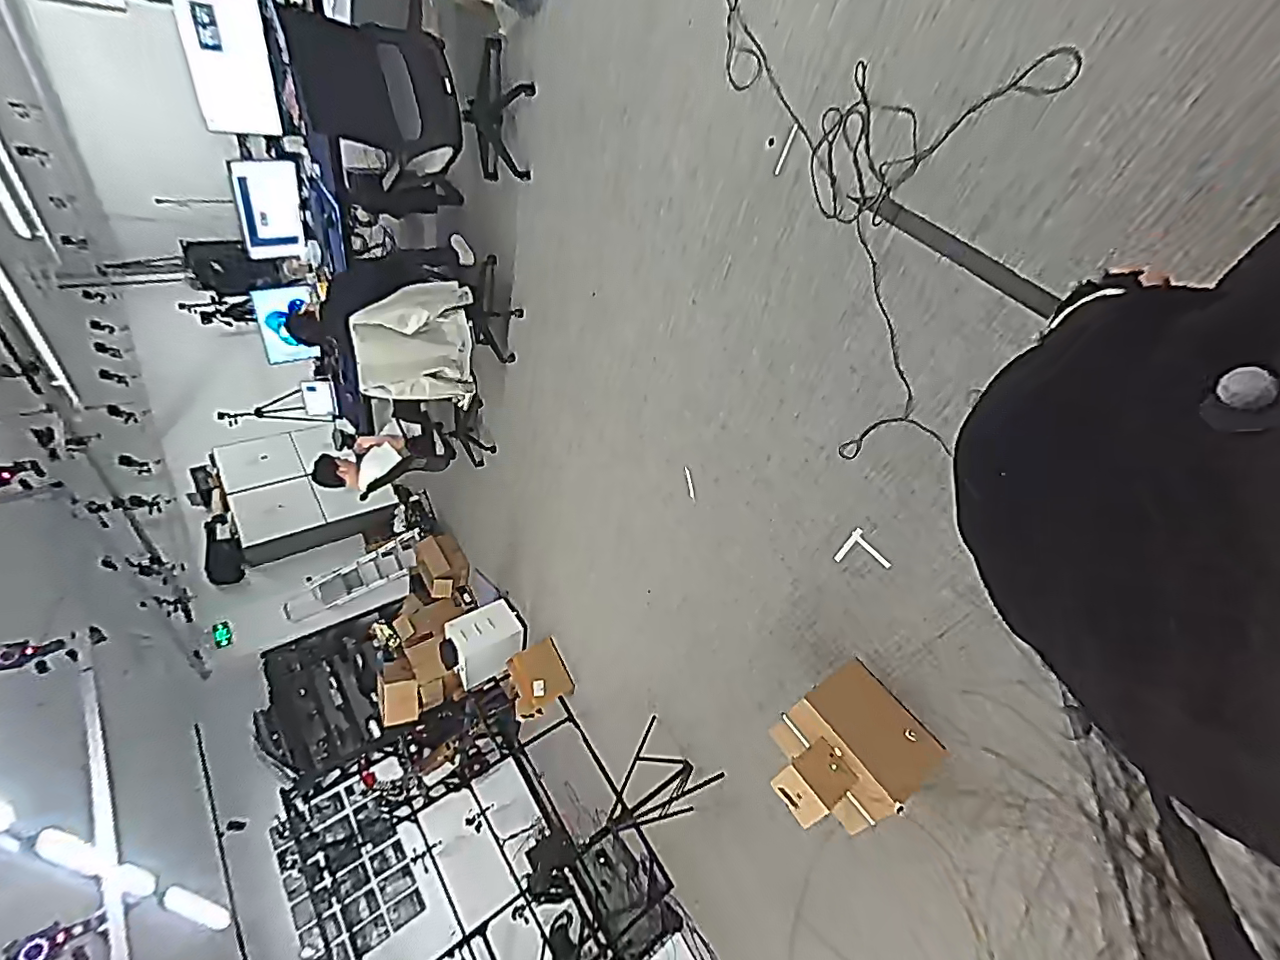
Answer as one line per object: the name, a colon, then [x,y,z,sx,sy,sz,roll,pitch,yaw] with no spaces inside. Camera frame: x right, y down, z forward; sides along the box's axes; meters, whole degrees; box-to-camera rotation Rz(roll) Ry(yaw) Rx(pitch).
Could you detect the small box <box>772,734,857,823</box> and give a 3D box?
small box: [0.572,0.972,1.766,0.168,0.176,0.179,48,140,29]
